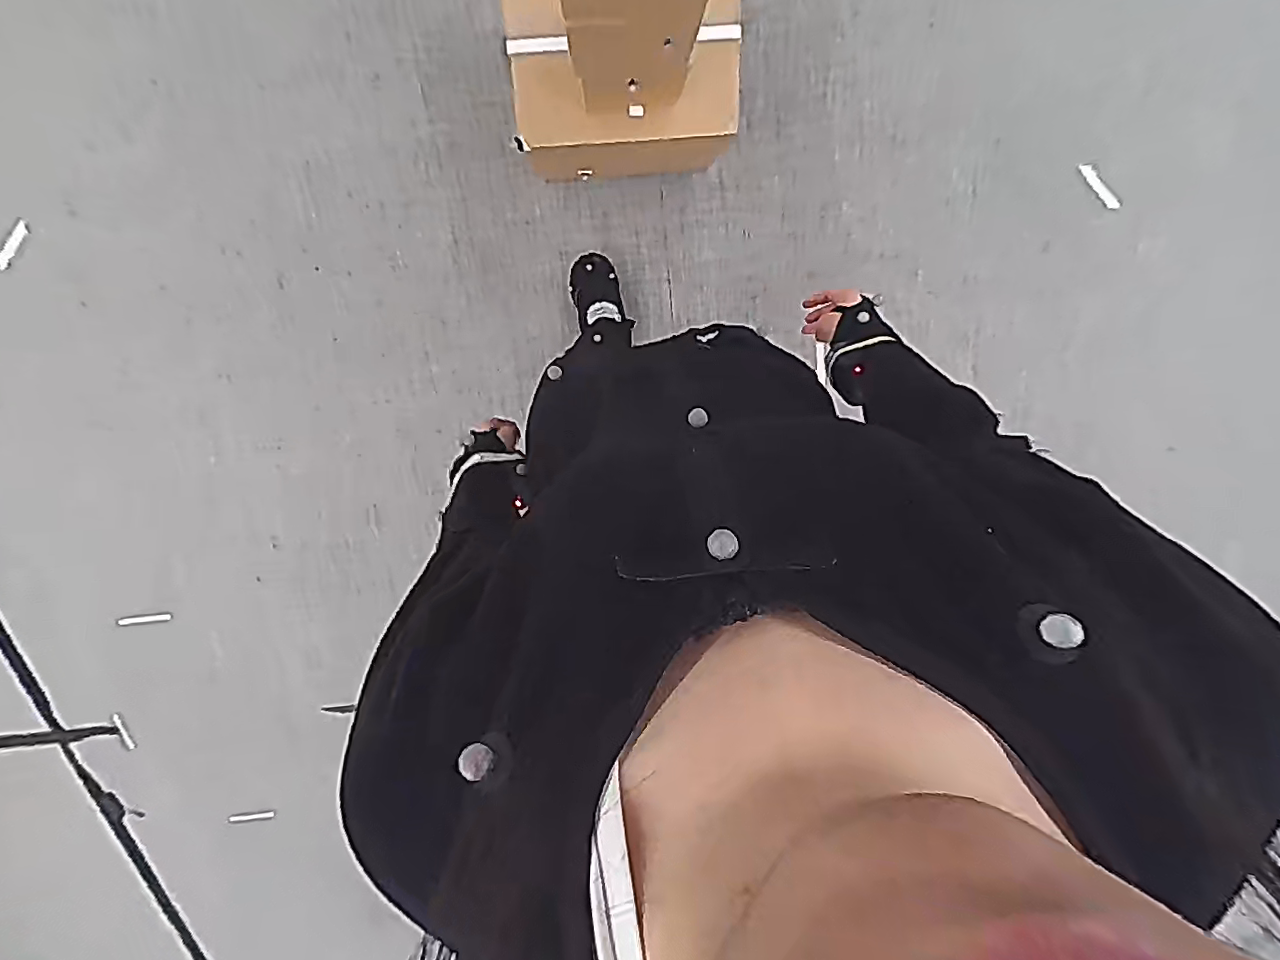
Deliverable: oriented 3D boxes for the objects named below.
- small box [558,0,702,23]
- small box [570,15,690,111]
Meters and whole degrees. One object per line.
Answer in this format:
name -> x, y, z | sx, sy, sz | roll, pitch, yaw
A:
small box -> -0.008, -0.612, 0.562 | 0.179, 0.176, 0.168 | -3, 109, -1
small box -> -0.021, -0.719, 0.872 | 0.179, 0.176, 0.168 | -7, 110, -1
